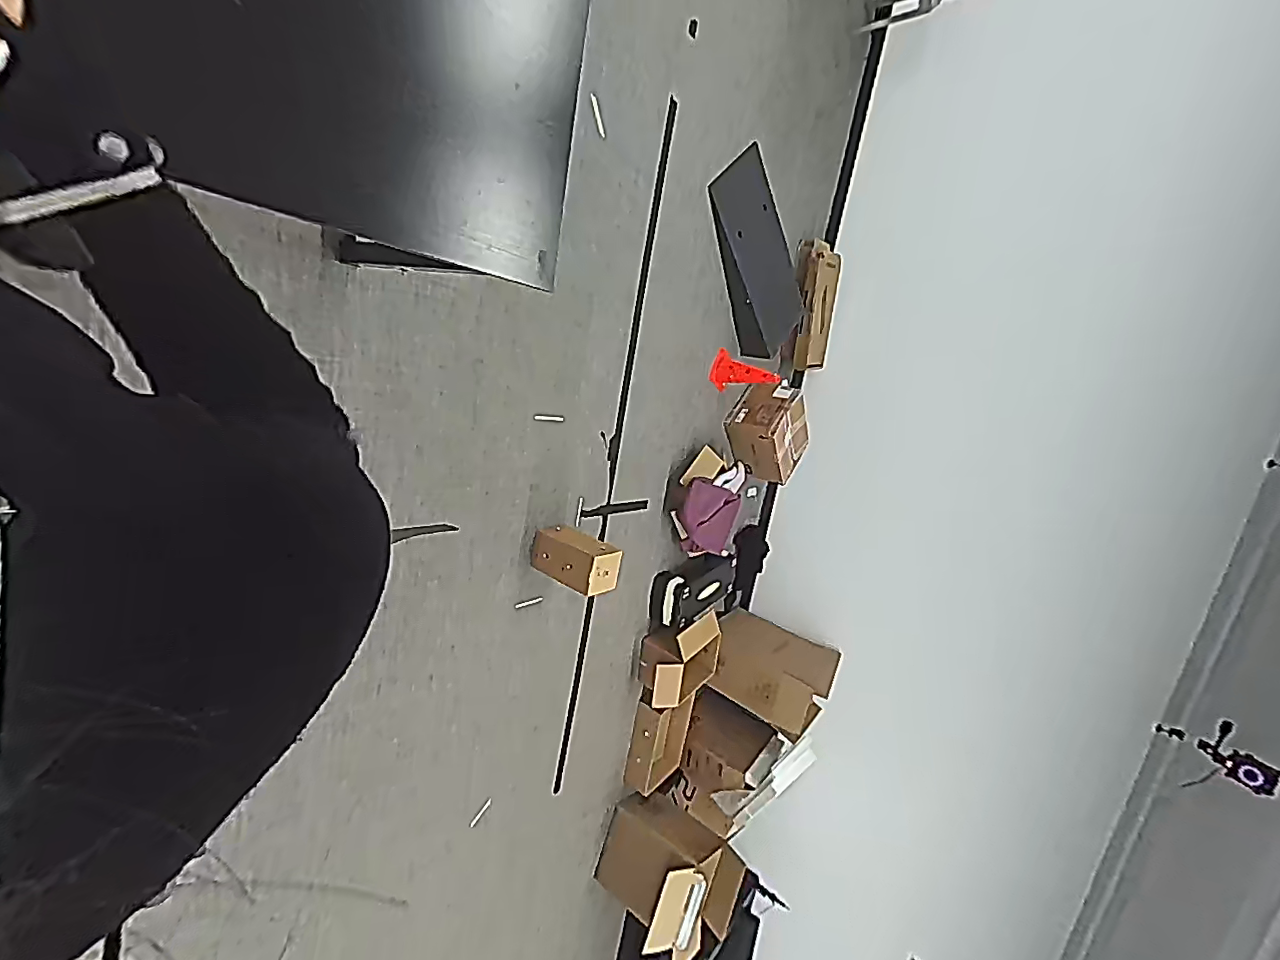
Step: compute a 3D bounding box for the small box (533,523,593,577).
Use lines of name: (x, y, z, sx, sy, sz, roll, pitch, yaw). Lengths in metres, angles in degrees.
small box: (-0.326, 0.289, 2.259, 0.179, 0.176, 0.168, -5, 110, -52)

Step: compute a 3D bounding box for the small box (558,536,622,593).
small box: (-0.200, 0.331, 2.159, 0.179, 0.176, 0.168, -2, 107, -53)
